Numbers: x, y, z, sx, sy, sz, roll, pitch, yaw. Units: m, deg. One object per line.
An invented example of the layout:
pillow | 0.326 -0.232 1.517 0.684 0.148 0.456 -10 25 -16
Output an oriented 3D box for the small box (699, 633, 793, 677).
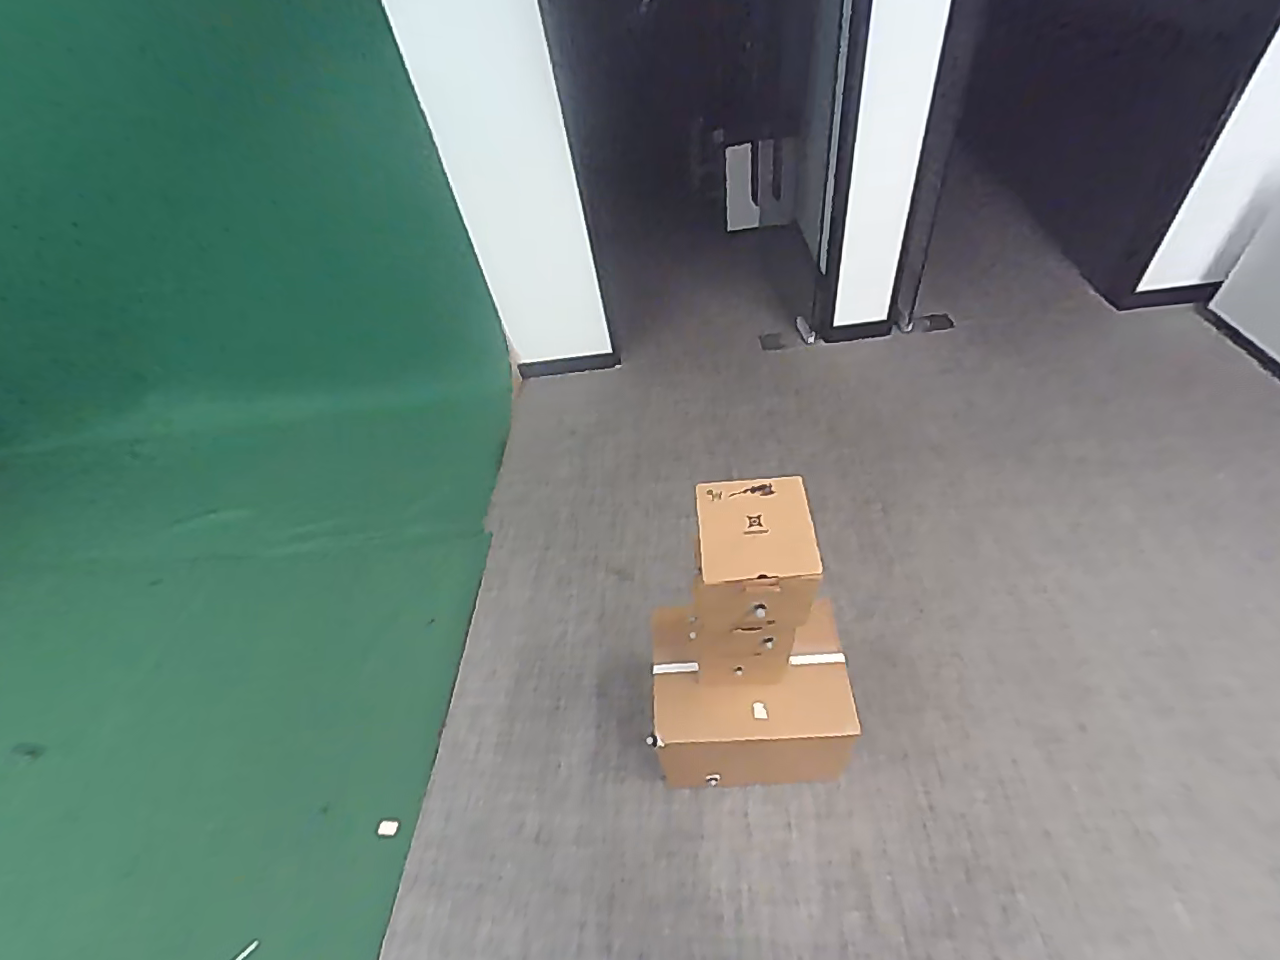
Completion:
small box | 0.211 0.303 1.128 0.179 0.176 0.168 -6 53 6

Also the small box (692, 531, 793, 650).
small box | 0.187 0.206 1.000 0.168 0.176 0.179 -4 52 6

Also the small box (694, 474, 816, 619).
small box | 0.177 0.114 0.865 0.168 0.176 0.179 -4 53 7
